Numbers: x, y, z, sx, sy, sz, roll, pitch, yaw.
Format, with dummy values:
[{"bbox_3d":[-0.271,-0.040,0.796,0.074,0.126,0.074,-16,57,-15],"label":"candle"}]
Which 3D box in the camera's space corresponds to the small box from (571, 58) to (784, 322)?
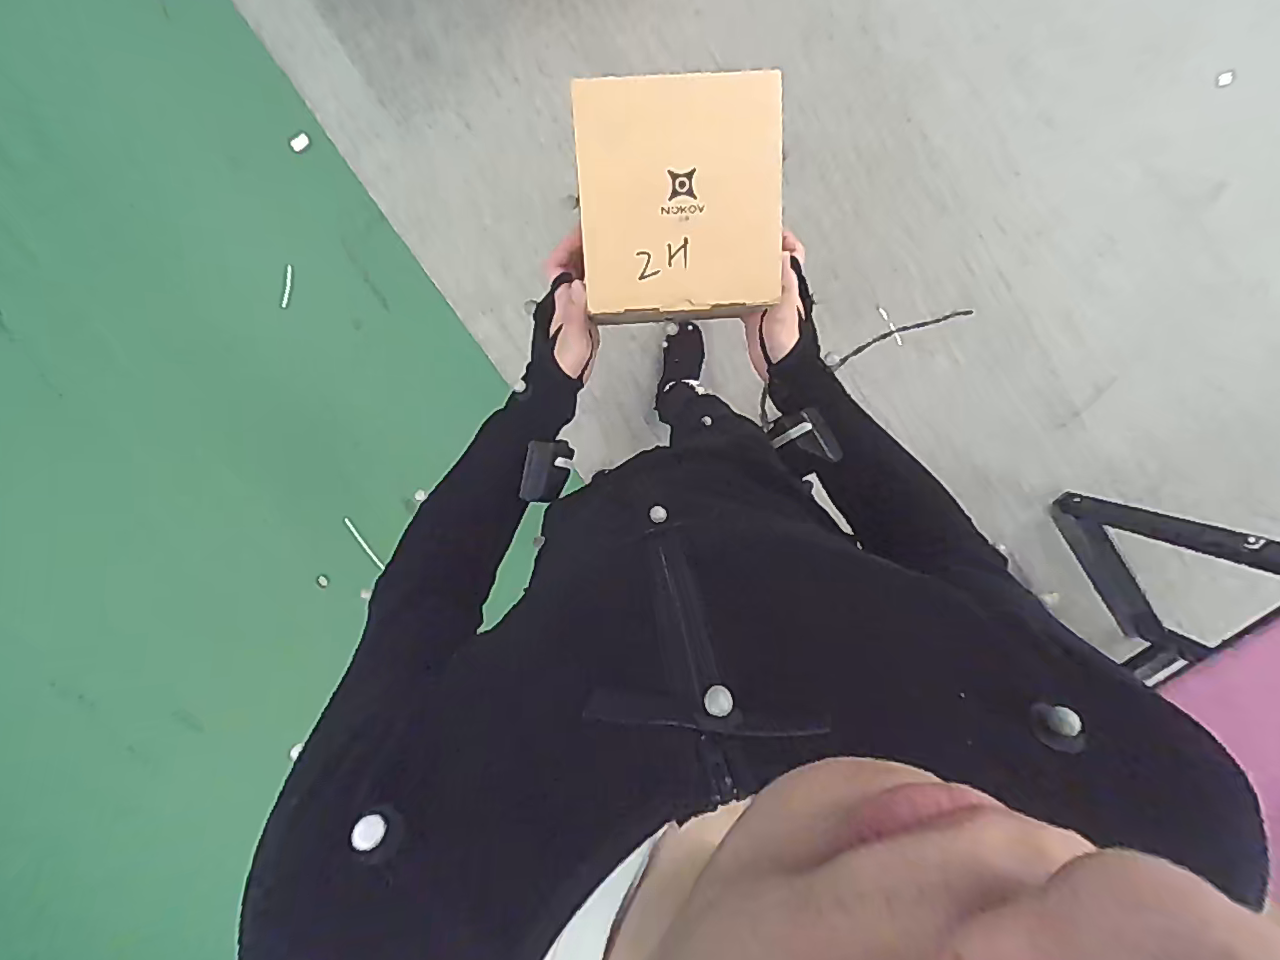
[{"bbox_3d":[0.028,-0.247,0.501,0.168,0.176,0.179,-3,102,-1],"label":"small box"}]
